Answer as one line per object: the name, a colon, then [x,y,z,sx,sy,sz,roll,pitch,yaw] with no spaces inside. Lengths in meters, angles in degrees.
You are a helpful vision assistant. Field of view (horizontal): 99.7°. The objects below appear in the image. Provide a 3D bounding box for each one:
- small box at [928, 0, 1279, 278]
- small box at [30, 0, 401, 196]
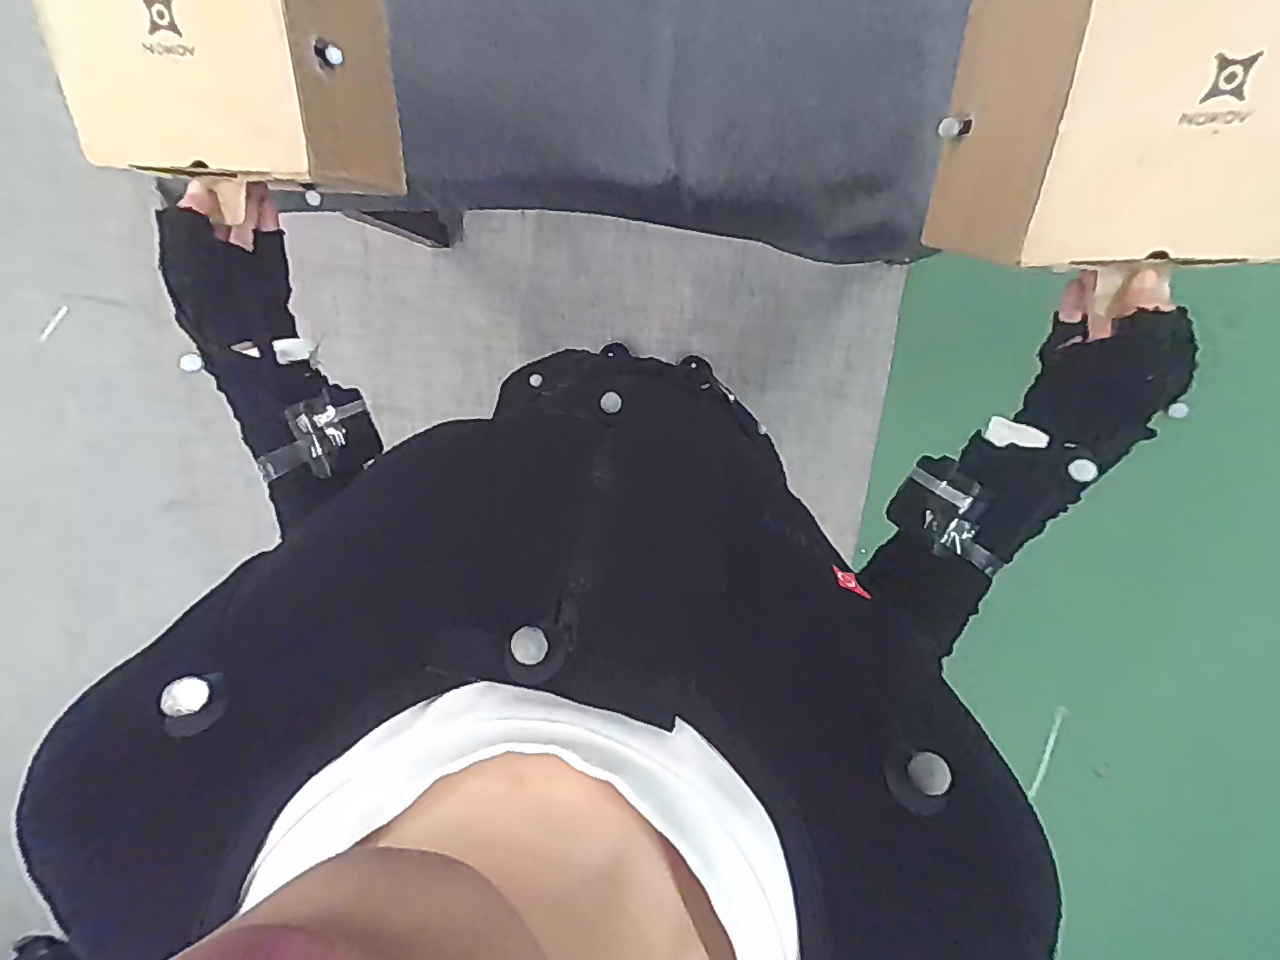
small box: [0.325,-0.246,0.372,0.168,0.176,0.179,1,119,4]
small box: [-0.309,-0.330,0.426,0.168,0.176,0.179,2,113,0]
